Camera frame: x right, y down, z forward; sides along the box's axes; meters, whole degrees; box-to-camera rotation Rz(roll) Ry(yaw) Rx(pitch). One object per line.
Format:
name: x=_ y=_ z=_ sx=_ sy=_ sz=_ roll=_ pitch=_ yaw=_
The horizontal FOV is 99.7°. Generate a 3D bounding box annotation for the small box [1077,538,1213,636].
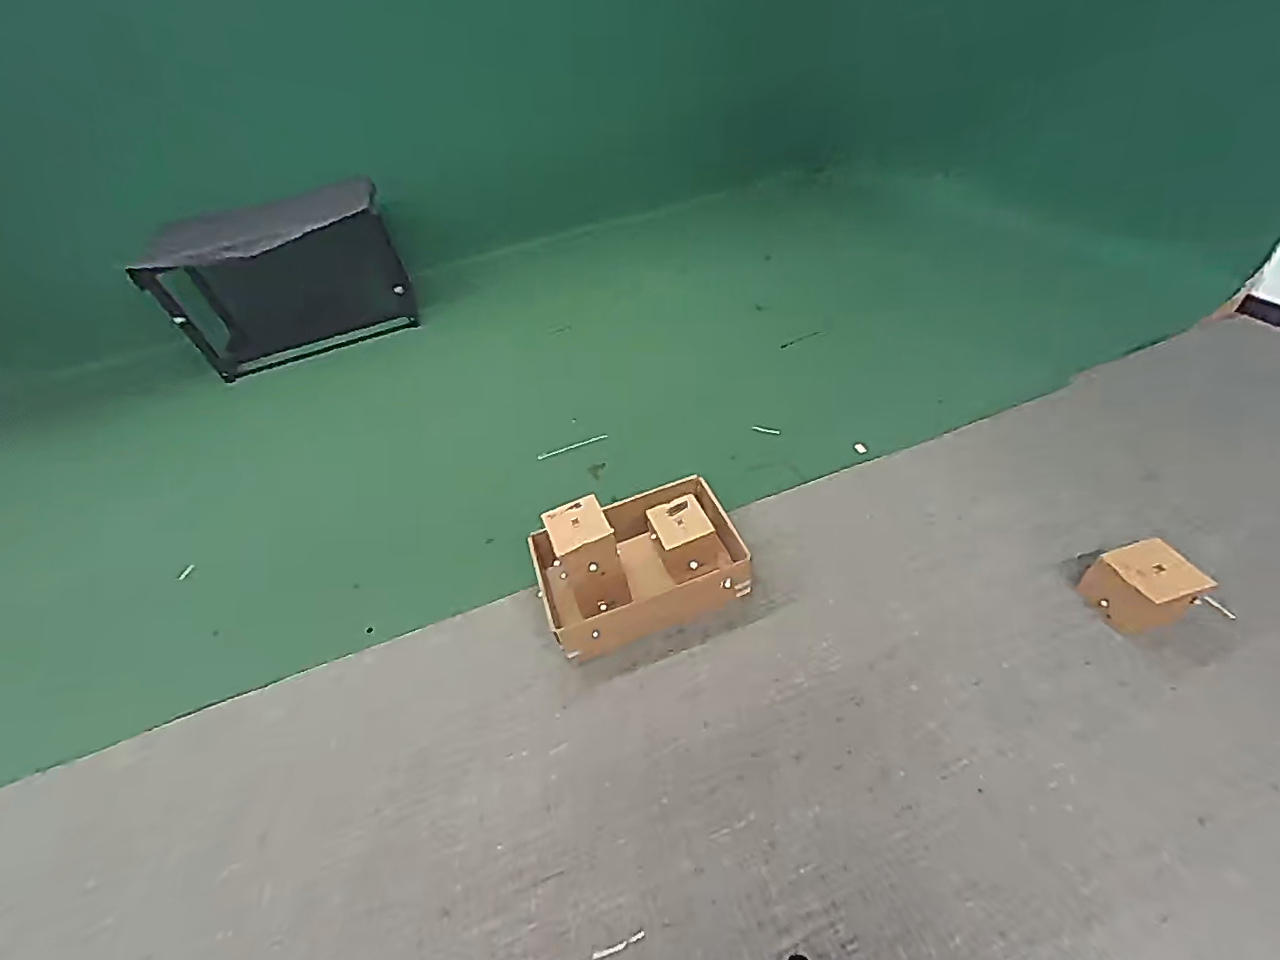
small box: x=1.331 y=0.288 z=1.443 sx=0.179 sy=0.176 sz=0.168 roll=-16 pitch=44 yaw=-4

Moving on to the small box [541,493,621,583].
small box: x=-0.167 y=0.175 z=1.561 sx=0.168 sy=0.176 sz=0.179 roll=-21 pitch=47 yaw=-10

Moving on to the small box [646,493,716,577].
small box: x=0.133 y=0.176 z=1.730 sx=0.168 sy=0.176 sz=0.179 roll=-21 pitch=47 yaw=-8
